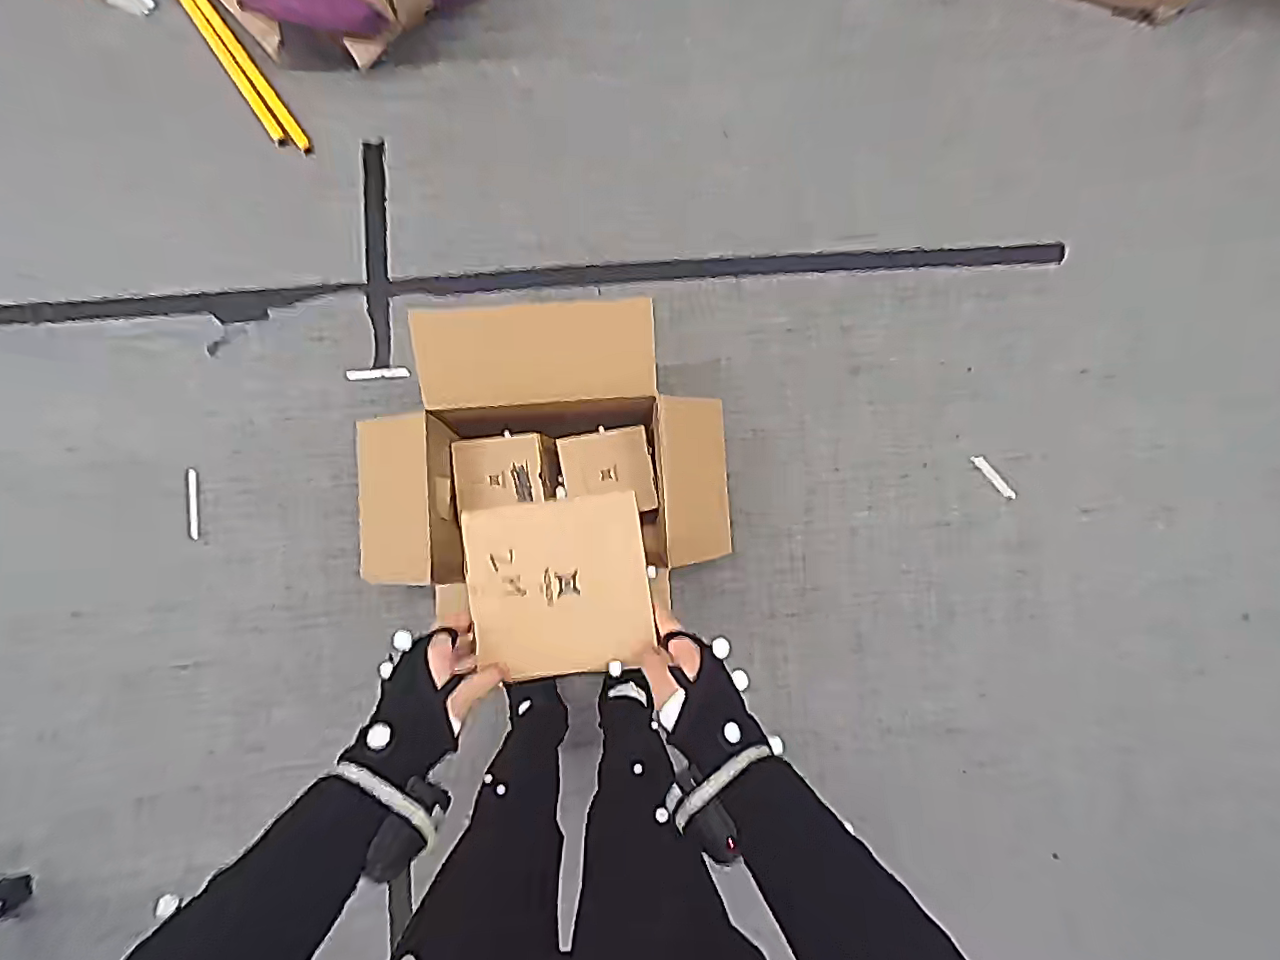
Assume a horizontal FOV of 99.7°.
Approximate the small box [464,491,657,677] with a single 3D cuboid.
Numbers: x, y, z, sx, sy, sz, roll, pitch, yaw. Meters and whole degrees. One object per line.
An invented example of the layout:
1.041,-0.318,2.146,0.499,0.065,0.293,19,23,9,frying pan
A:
-0.084,0.109,0.612,0.179,0.176,0.168,-8,83,-4,small box
